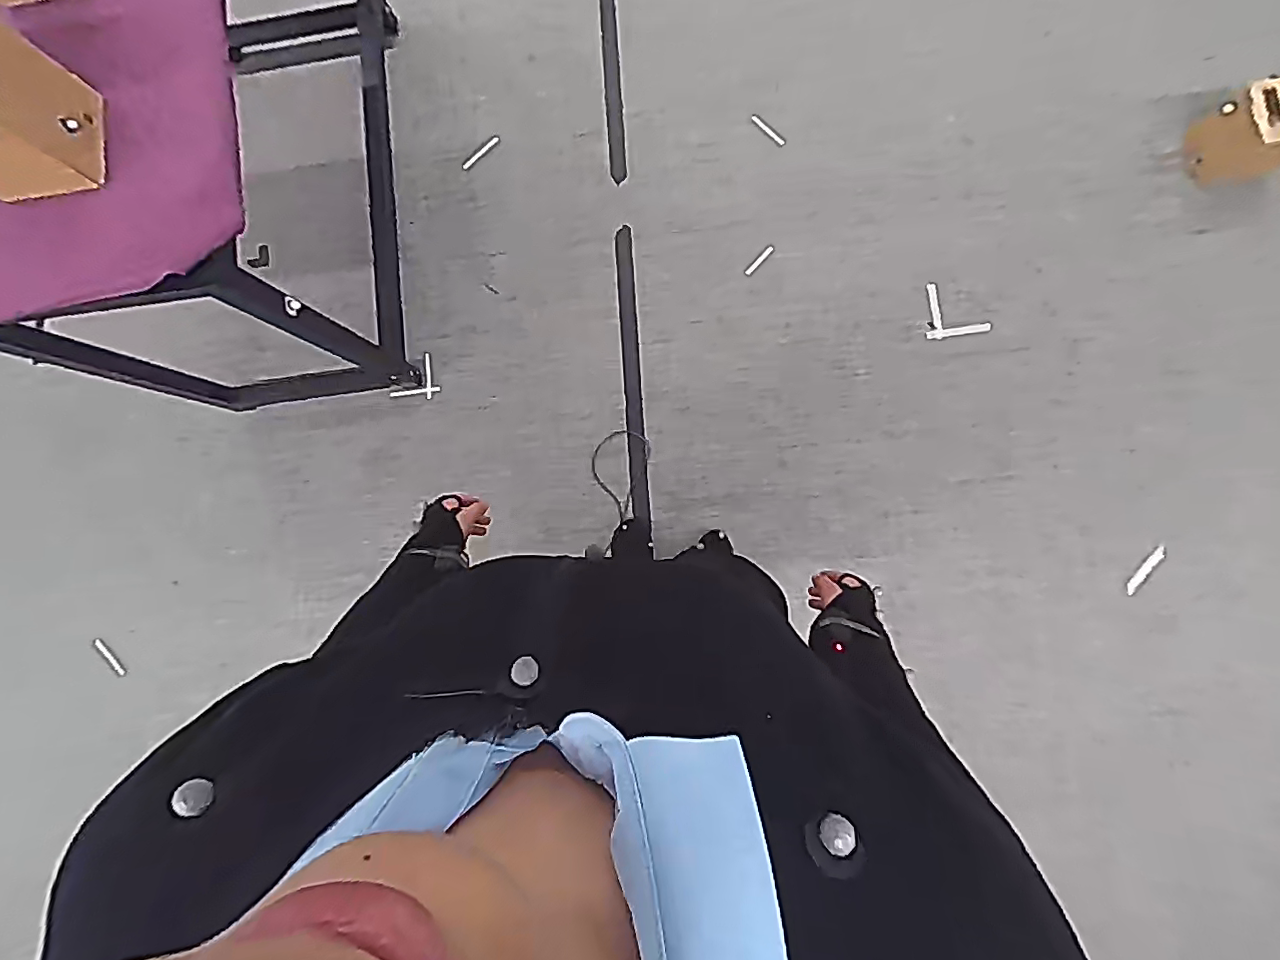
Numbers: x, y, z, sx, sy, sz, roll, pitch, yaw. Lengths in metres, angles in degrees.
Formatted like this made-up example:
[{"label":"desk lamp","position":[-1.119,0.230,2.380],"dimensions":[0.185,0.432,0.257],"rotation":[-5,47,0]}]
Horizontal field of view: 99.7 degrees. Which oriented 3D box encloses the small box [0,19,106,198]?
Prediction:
[{"label":"small box","position":[-0.982,-0.560,0.824],"dimensions":[0.179,0.176,0.168],"rotation":[-7,84,2]}]
